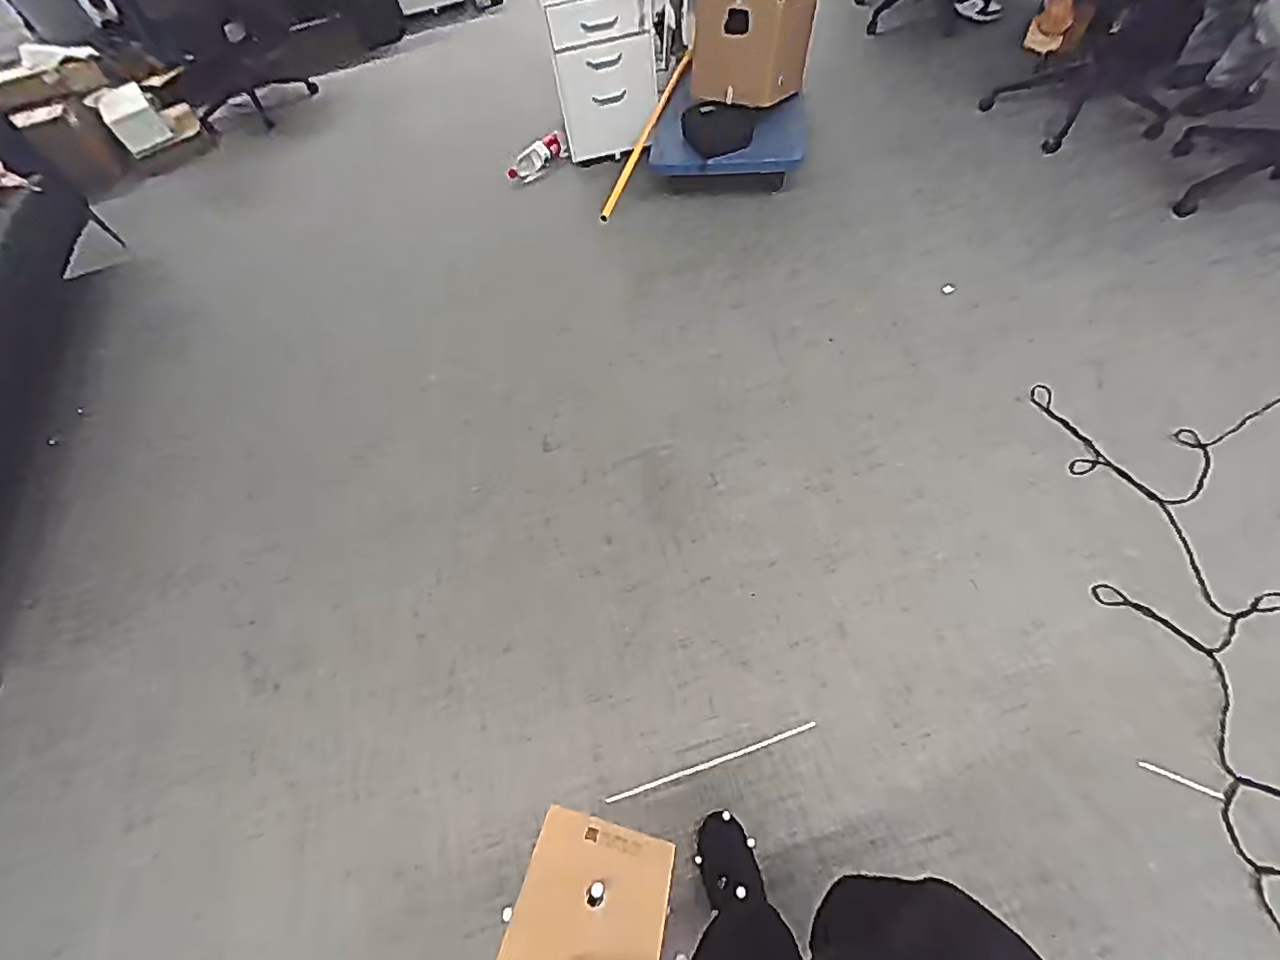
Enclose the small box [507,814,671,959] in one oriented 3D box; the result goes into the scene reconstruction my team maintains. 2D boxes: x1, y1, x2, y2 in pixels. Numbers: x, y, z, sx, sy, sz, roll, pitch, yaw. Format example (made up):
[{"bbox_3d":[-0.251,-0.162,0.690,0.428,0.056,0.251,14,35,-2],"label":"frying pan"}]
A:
[{"bbox_3d":[-0.063,0.537,0.646,0.168,0.179,0.176,15,34,3],"label":"small box"}]
